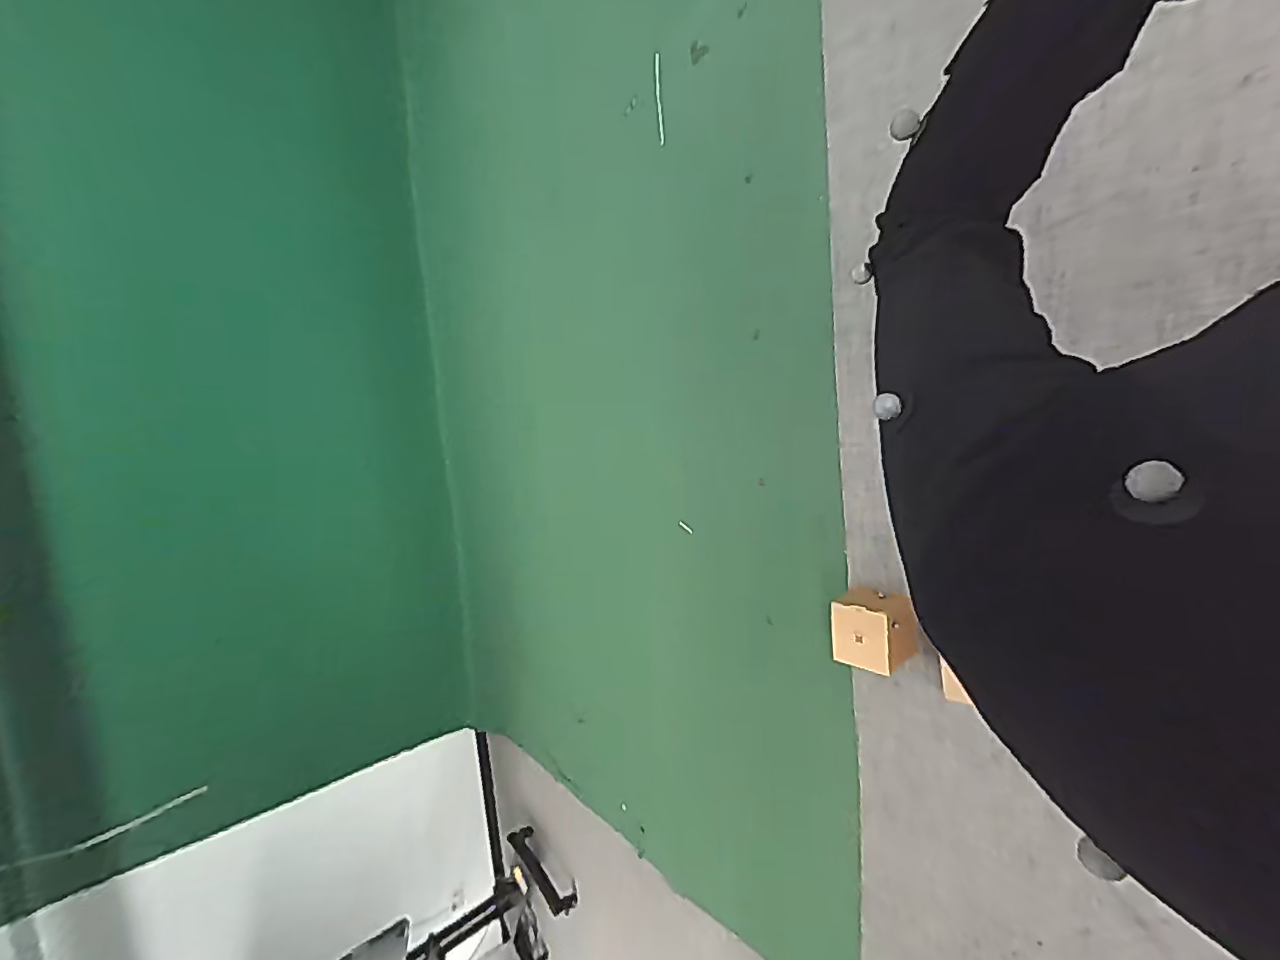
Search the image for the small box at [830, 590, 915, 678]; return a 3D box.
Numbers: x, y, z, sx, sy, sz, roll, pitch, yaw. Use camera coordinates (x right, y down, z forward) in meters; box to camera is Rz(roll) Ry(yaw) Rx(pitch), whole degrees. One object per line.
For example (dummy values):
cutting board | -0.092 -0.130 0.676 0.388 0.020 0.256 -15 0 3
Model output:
small box | 0.660 0.427 1.527 0.168 0.176 0.179 1 97 49
